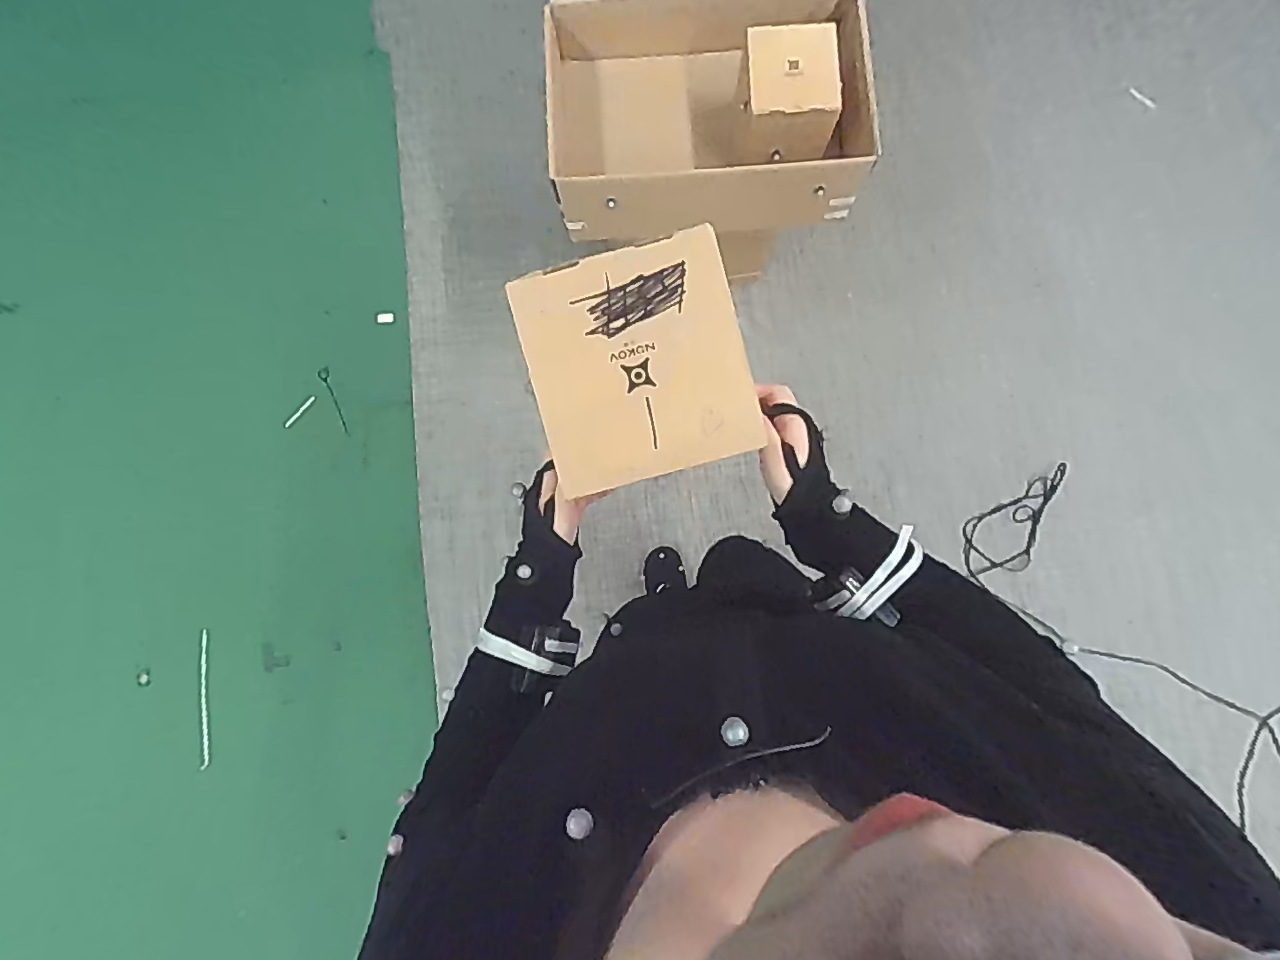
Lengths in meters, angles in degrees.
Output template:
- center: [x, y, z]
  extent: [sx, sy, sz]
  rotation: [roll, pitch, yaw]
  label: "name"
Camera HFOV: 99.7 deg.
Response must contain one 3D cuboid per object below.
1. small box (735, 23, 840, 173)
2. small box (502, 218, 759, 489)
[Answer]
- center: [0.281, -0.744, 1.066]
  extent: [0.168, 0.176, 0.179]
  rotation: [-2, 84, 2]
  label: "small box"
- center: [-0.004, -0.098, 0.492]
  extent: [0.168, 0.176, 0.179]
  rotation: [-15, 92, 4]
  label: "small box"
